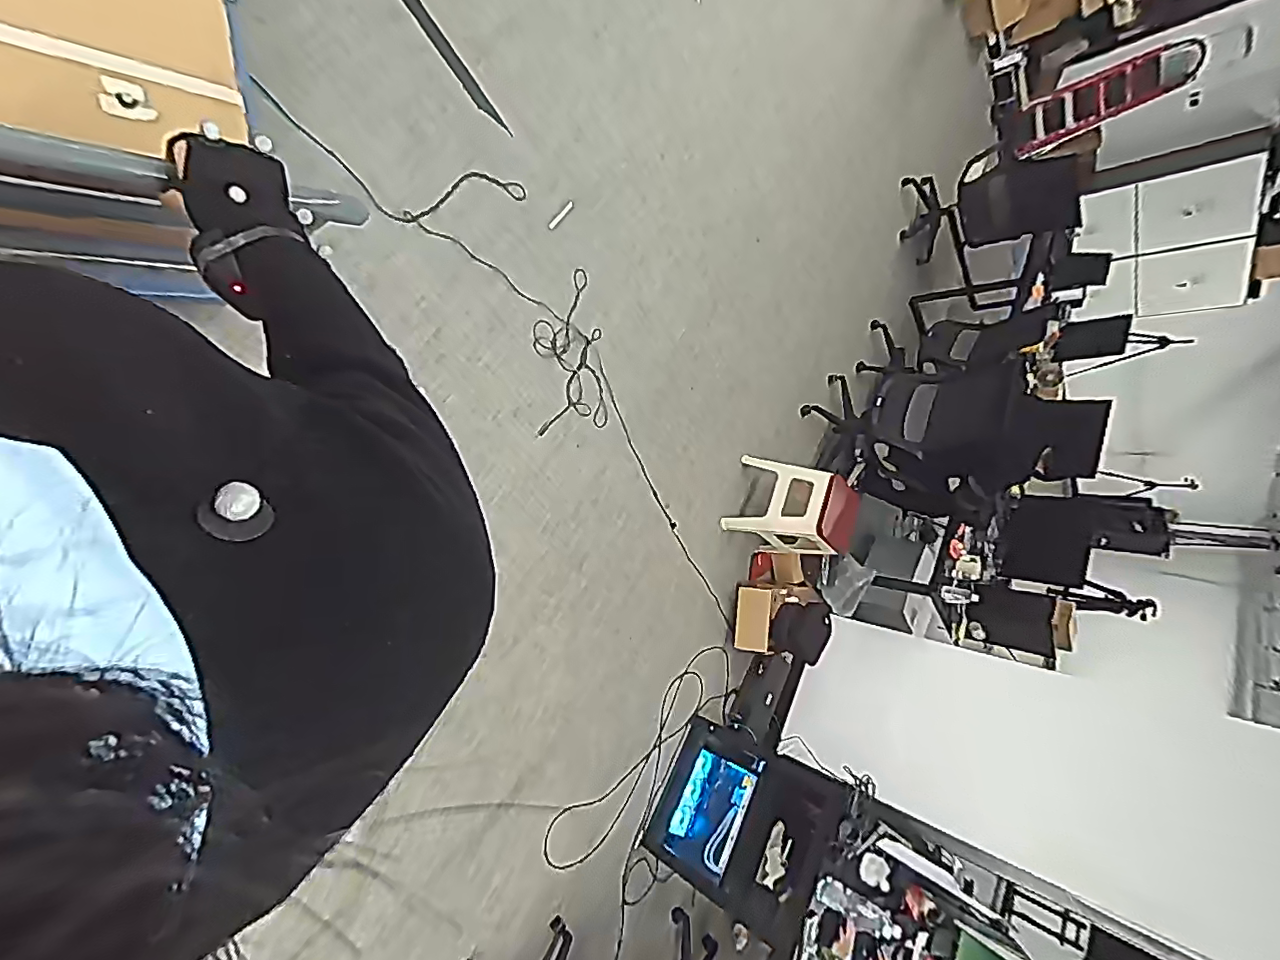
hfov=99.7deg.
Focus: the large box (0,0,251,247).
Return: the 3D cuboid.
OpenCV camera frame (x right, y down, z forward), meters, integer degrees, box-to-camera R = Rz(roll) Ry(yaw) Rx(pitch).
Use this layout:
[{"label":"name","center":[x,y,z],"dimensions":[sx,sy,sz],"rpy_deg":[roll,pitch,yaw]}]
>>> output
[{"label":"large box","center":[-0.872,-0.565,0.799],"dimensions":[0.408,0.320,0.320],"rpy_deg":[-12,103,-45]}]
